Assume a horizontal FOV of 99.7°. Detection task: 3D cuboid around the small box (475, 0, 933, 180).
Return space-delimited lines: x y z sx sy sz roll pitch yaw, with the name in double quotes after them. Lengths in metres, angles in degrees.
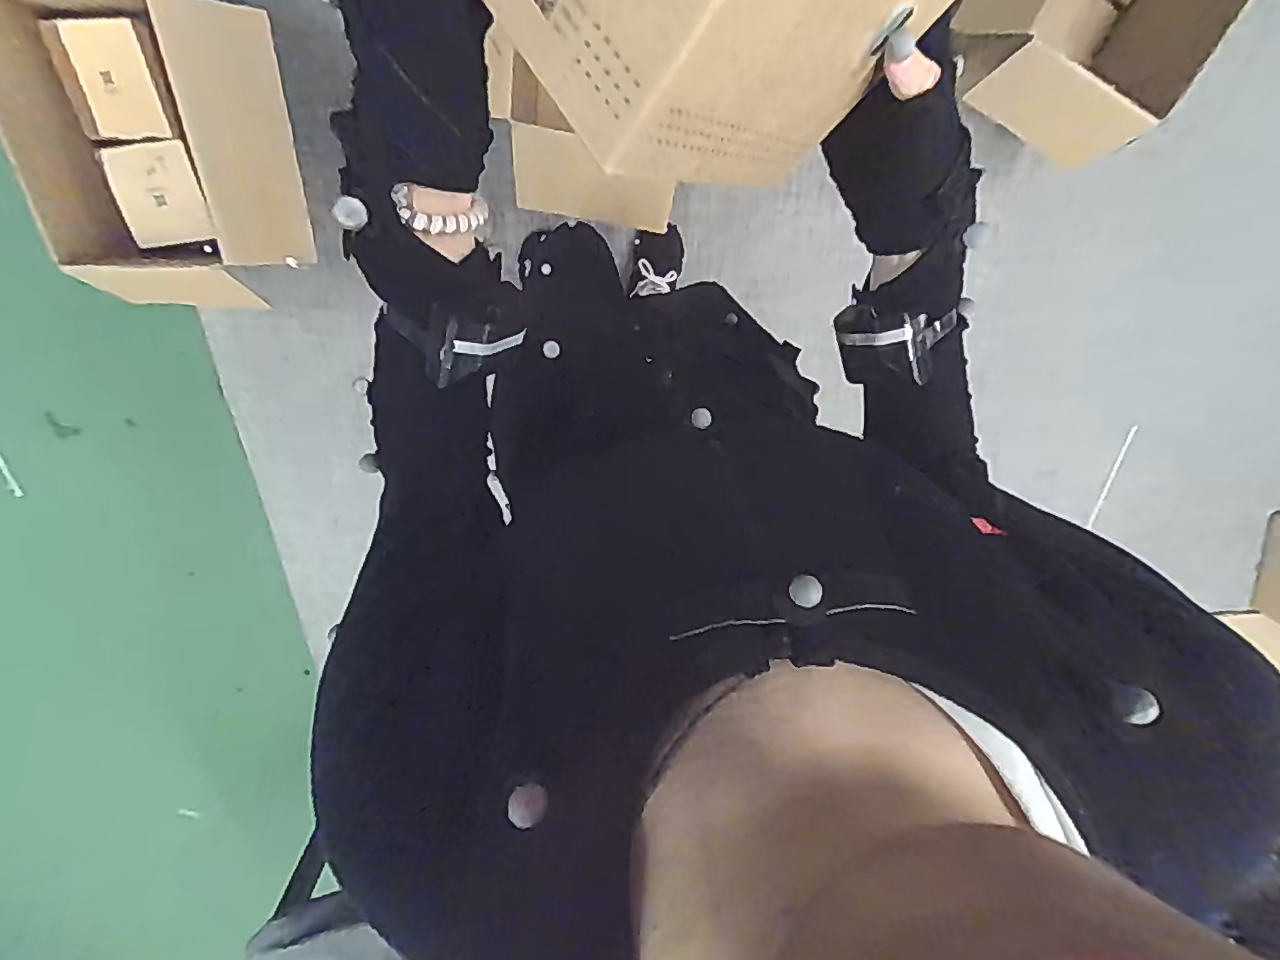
0.032 -0.257 0.226 0.168 0.179 0.176 55 134 6 "small box"
